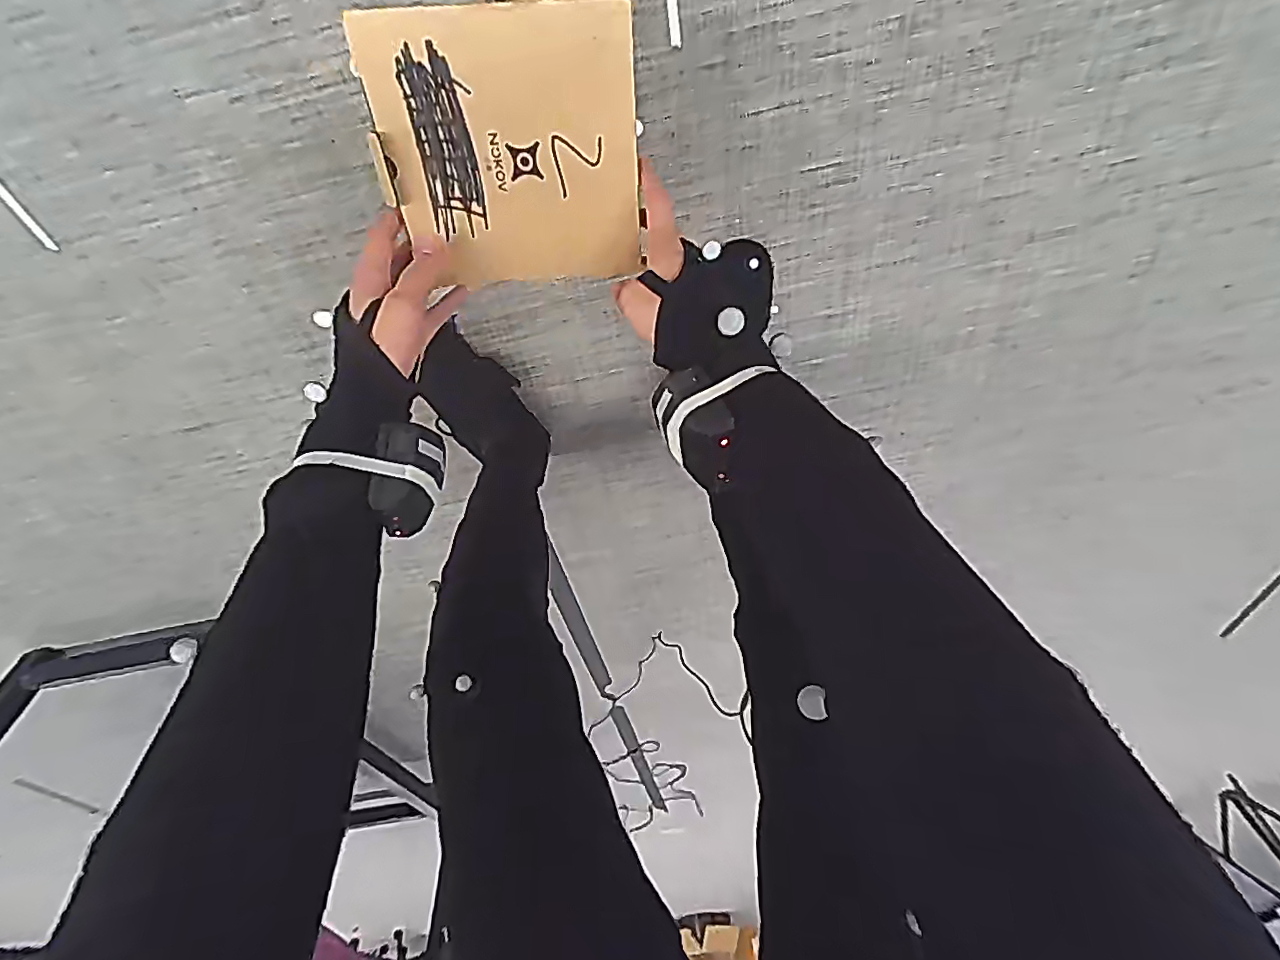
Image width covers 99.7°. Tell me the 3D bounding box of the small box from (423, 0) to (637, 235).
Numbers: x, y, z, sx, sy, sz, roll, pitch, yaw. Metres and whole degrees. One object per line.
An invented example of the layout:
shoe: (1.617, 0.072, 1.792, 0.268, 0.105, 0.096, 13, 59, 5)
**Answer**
small box: (-0.095, -0.380, 0.559, 0.168, 0.176, 0.179, -8, 132, 1)
